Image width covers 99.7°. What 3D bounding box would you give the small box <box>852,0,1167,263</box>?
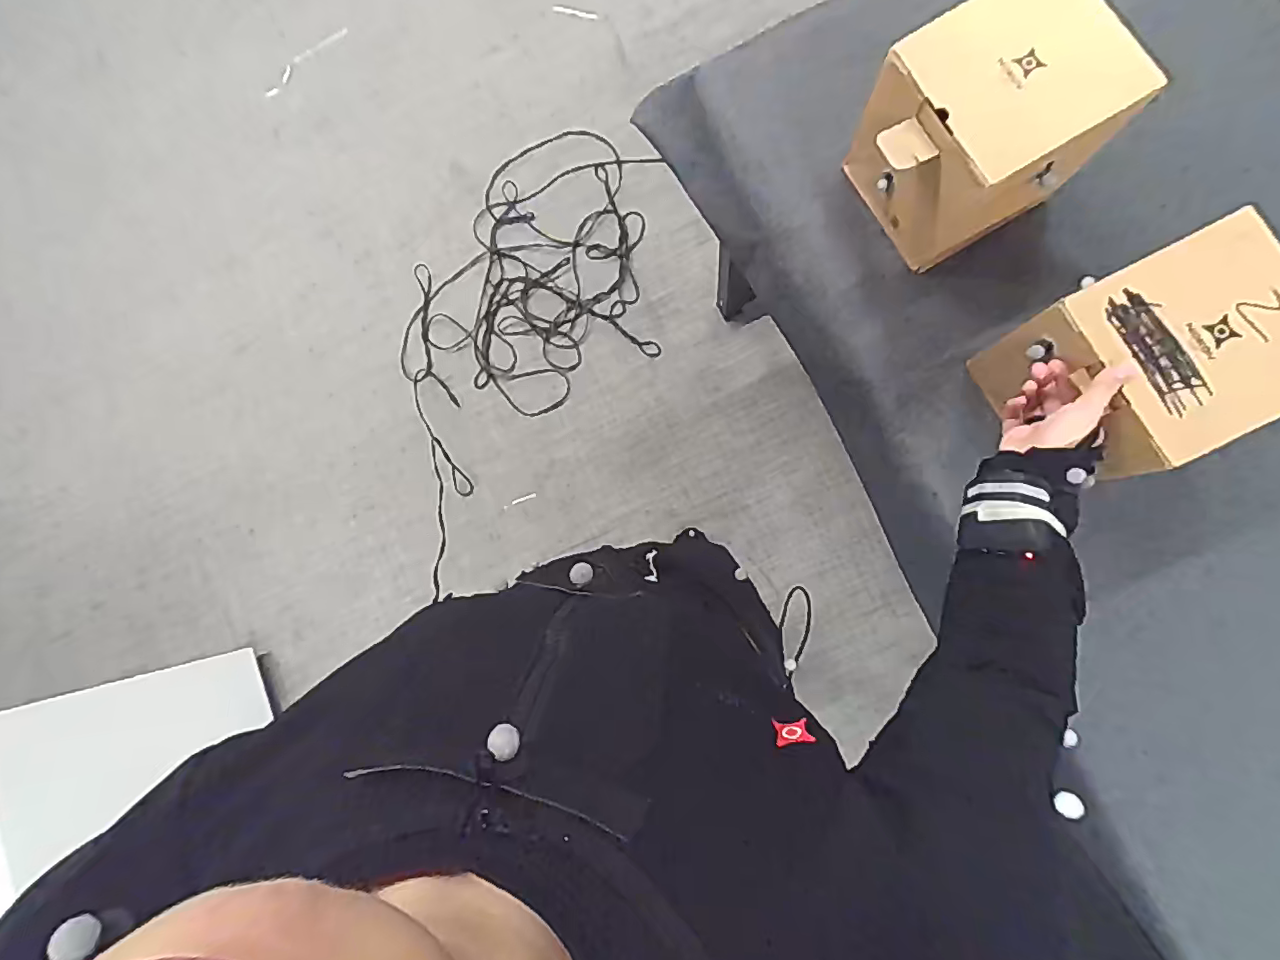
[{"bbox_3d":[0.356,-0.367,0.562,0.179,0.176,0.168,-30,83,3],"label":"small box"}]
